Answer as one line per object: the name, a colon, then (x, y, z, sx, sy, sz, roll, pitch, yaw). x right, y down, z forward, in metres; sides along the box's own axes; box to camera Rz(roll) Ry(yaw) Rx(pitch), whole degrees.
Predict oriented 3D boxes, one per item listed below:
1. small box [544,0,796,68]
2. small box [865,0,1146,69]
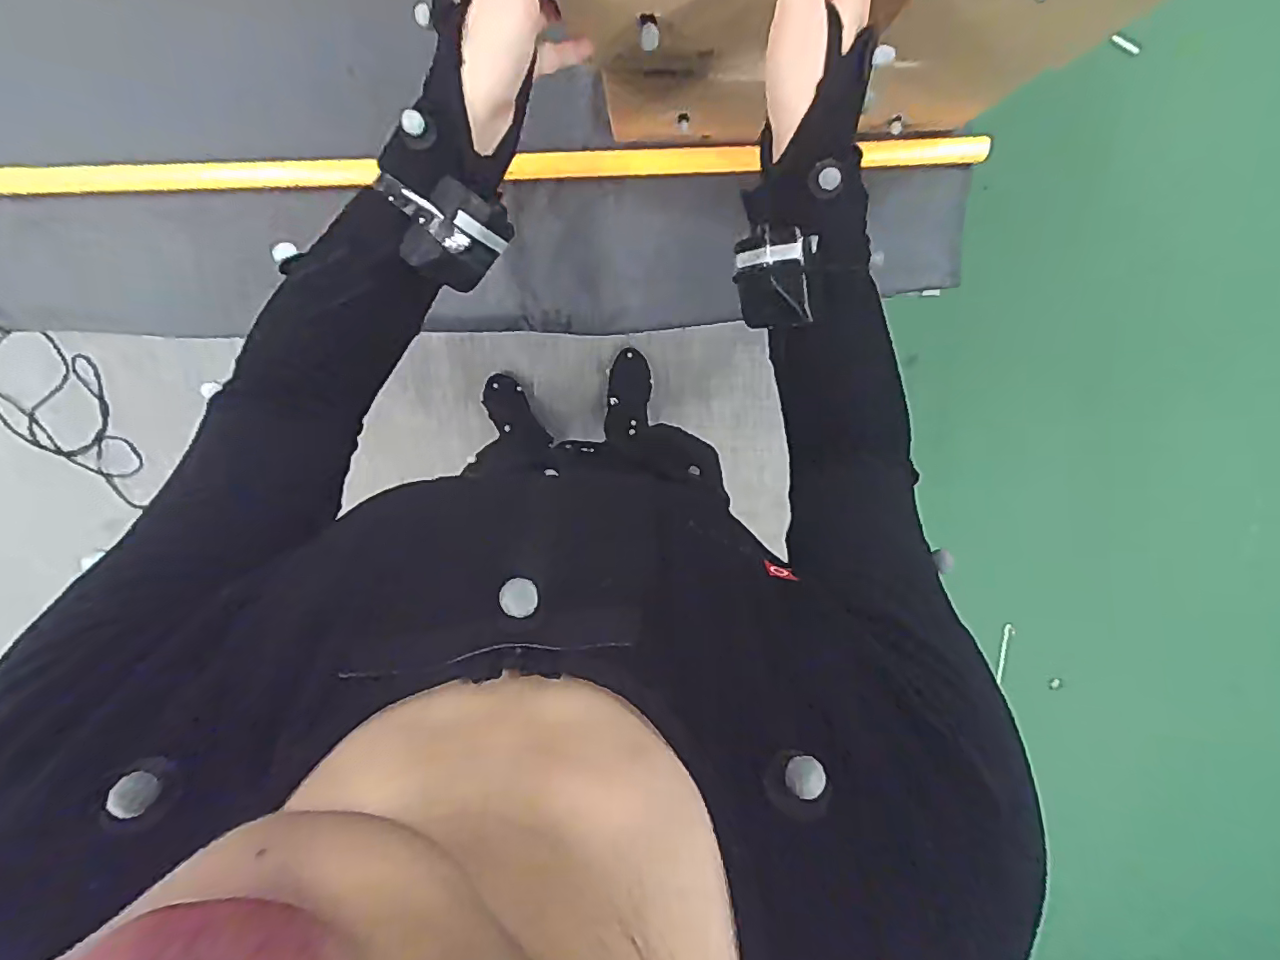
small box: (0.025, -0.395, 0.351, 0.168, 0.176, 0.179, 1, 110, 4)
small box: (0.276, -0.410, 0.363, 0.179, 0.176, 0.168, 3, 106, -1)
